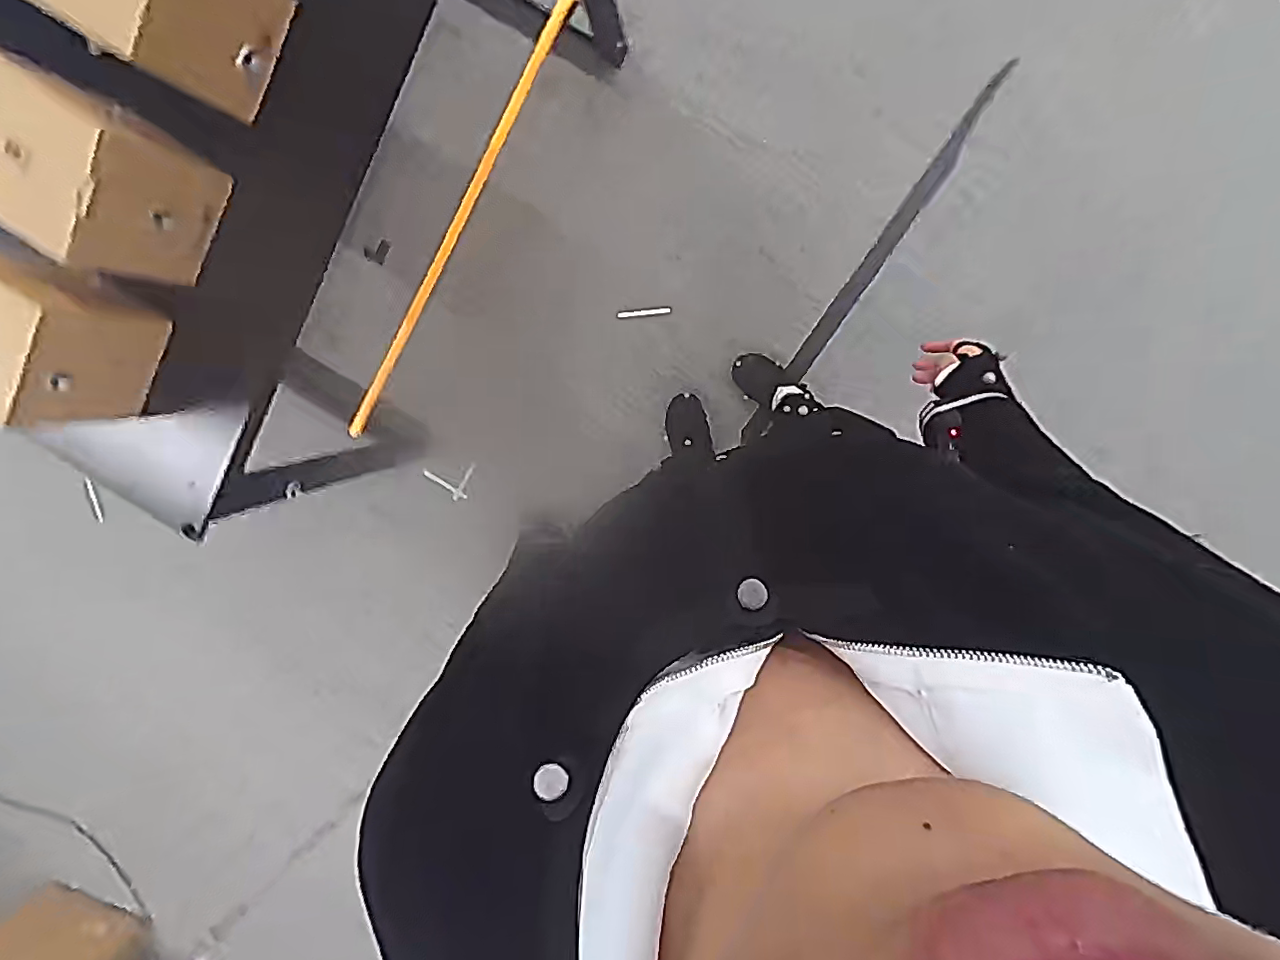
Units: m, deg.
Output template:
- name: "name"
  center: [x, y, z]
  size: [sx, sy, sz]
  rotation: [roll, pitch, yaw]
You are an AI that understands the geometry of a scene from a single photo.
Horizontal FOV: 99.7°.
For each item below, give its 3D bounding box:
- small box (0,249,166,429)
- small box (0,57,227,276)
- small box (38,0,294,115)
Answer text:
- name: "small box"
  center: [-0.813, -0.192, 0.741]
  size: [0.168, 0.176, 0.179]
  rotation: [32, 103, -1]
- name: "small box"
  center: [-0.686, -0.381, 0.689]
  size: [0.179, 0.176, 0.168]
  rotation: [33, 104, -1]
- name: "small box"
  center: [-0.564, -0.577, 0.636]
  size: [0.179, 0.176, 0.168]
  rotation: [31, 105, -1]
